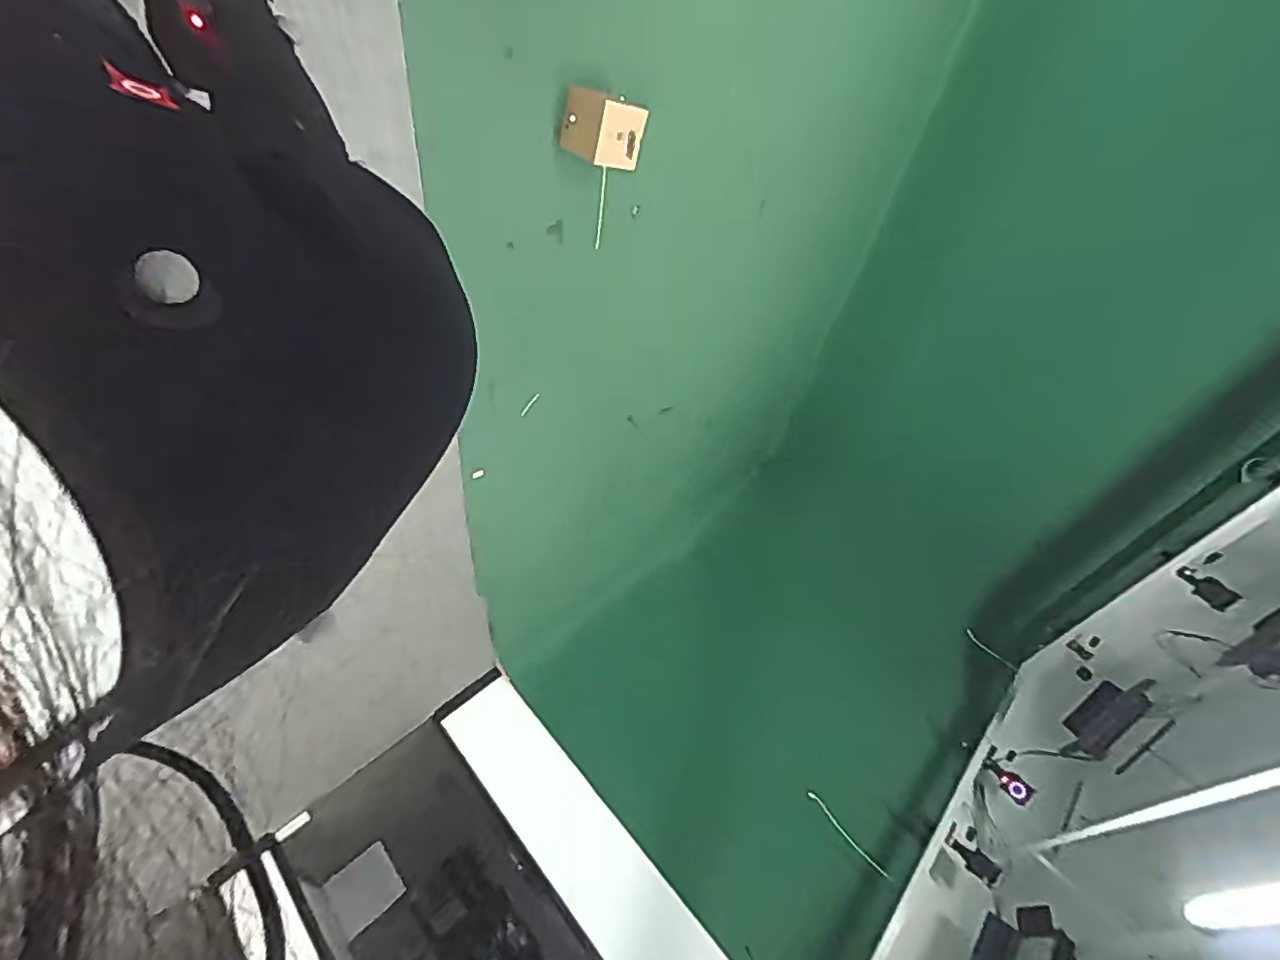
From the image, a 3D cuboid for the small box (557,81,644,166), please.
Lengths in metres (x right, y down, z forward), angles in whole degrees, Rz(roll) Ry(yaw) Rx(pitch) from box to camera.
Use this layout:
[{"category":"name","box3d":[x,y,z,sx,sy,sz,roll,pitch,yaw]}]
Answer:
[{"category":"small box","box3d":[-0.122,-1.071,1.624,0.179,0.176,0.168,-23,143,-43]}]
